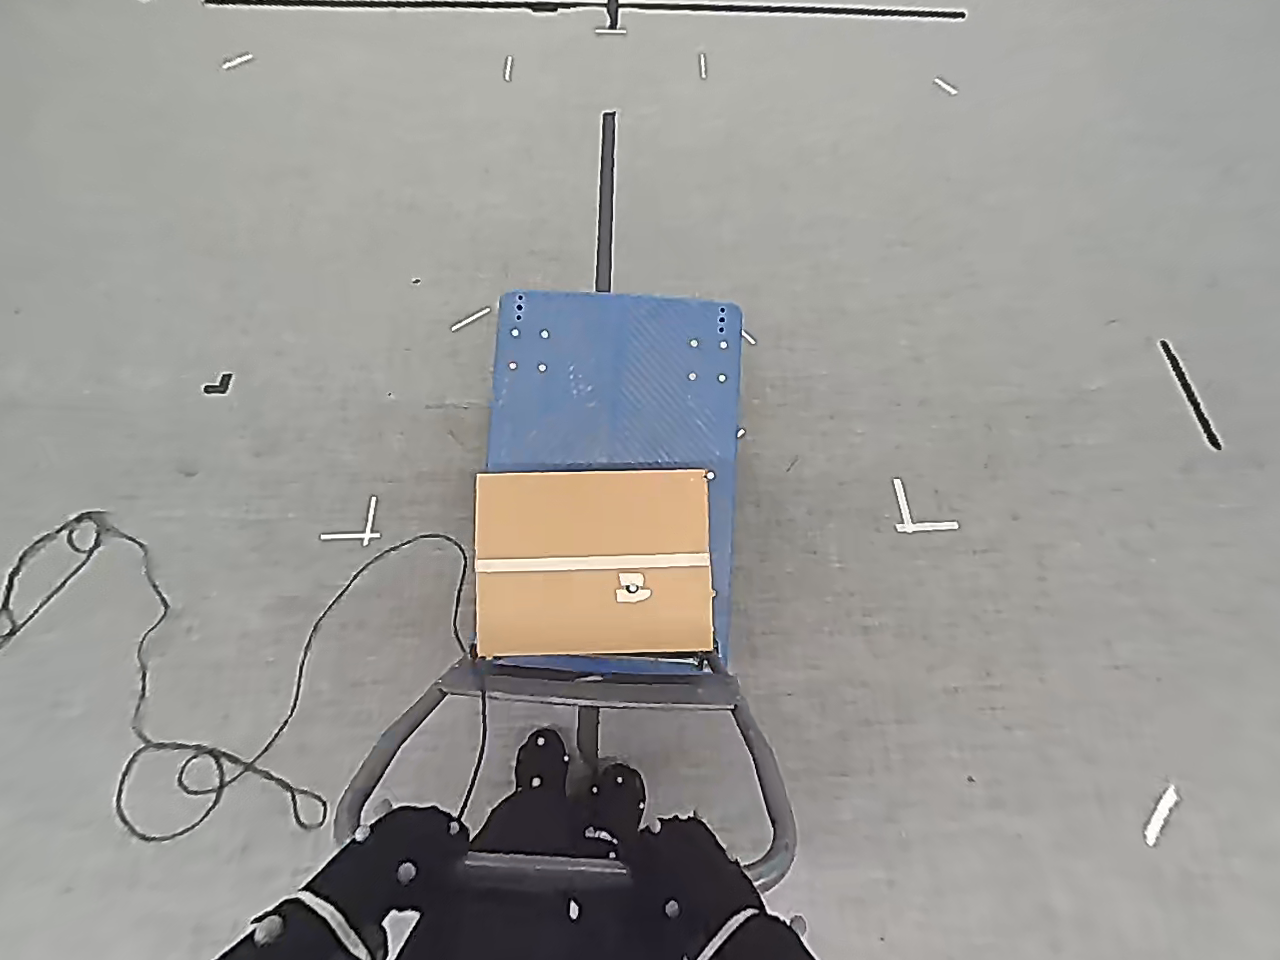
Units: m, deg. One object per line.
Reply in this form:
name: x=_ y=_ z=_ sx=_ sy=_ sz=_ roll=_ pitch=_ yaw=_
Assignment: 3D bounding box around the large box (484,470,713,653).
large box: x=-0.081 y=0.155 z=1.104 sx=0.408 sy=0.320 sz=0.320 roll=-1 pitch=86 yaw=-2
